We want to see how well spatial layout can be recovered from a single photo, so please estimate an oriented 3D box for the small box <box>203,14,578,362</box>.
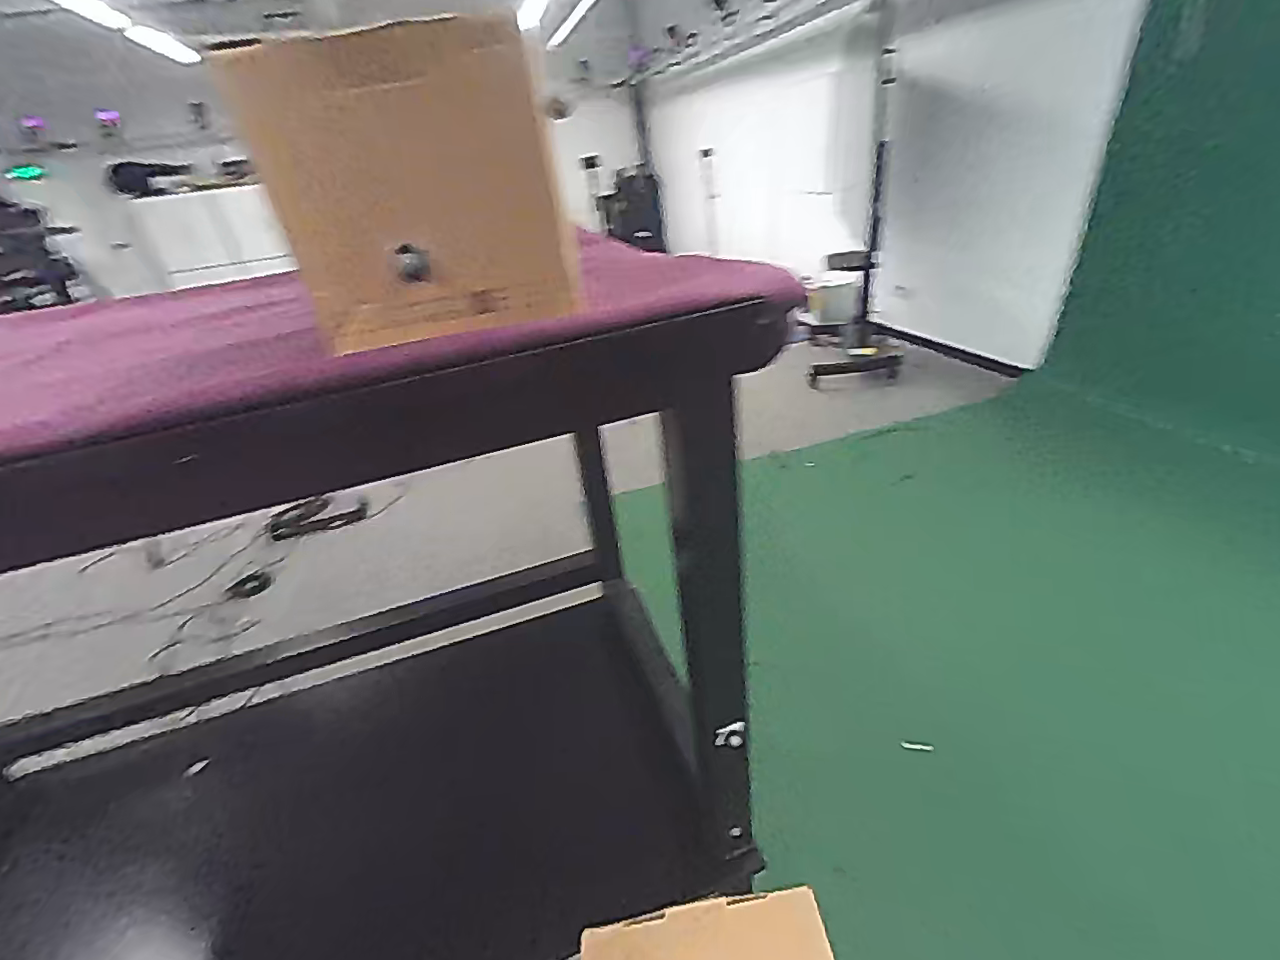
[{"bbox_3d":[-0.140,-0.196,0.382,0.168,0.176,0.179,-10,32,-3],"label":"small box"}]
